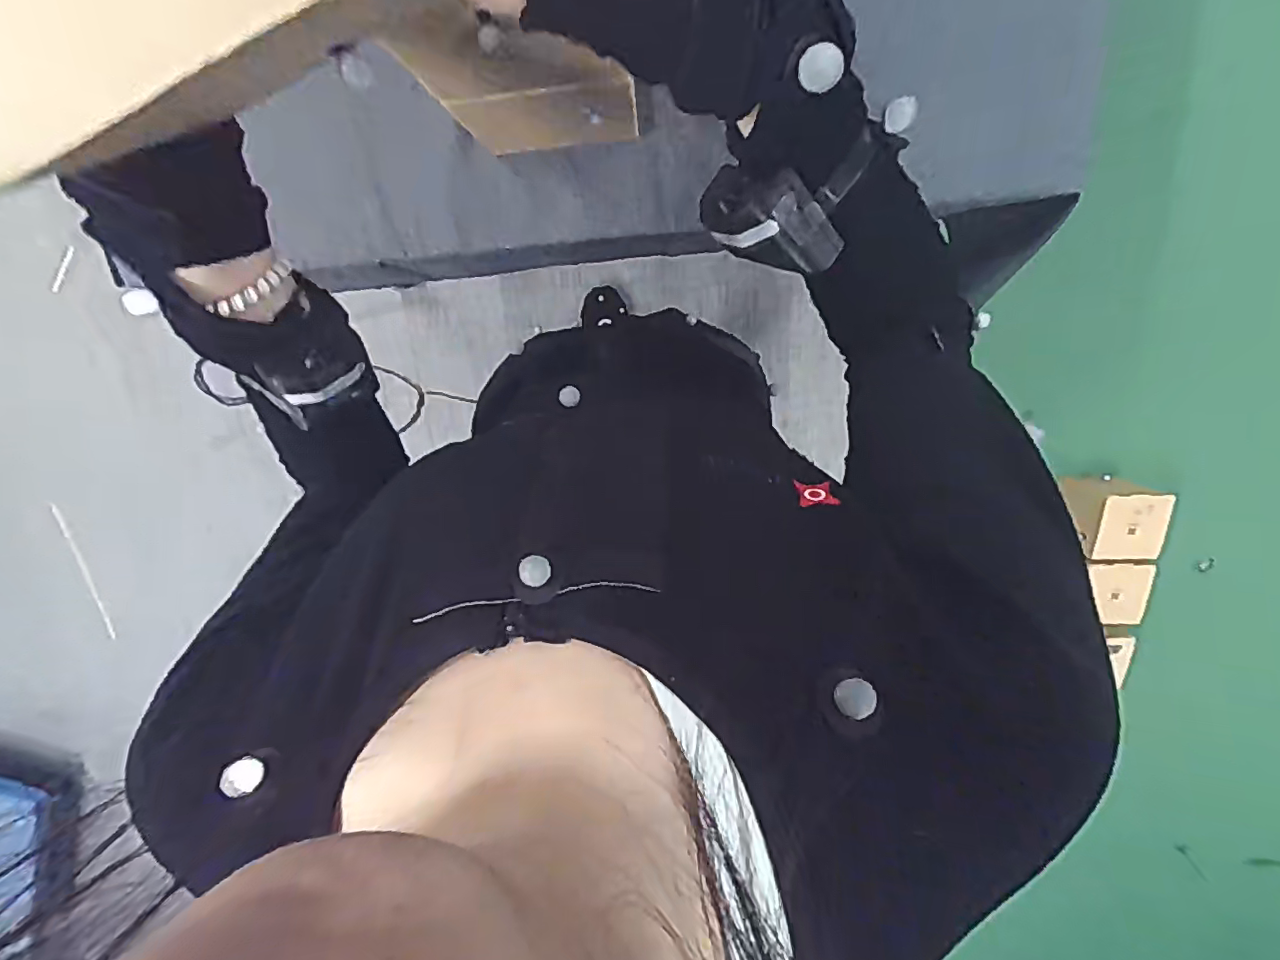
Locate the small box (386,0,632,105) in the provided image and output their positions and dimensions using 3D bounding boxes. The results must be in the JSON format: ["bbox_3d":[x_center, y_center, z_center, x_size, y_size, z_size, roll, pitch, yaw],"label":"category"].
[{"bbox_3d":[-0.099,-0.399,0.387,0.179,0.176,0.168,-5,107,4],"label":"small box"}]

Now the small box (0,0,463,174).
[{"bbox_3d":[-0.156,-0.230,0.167,0.179,0.176,0.168,-19,130,9],"label":"small box"}]
